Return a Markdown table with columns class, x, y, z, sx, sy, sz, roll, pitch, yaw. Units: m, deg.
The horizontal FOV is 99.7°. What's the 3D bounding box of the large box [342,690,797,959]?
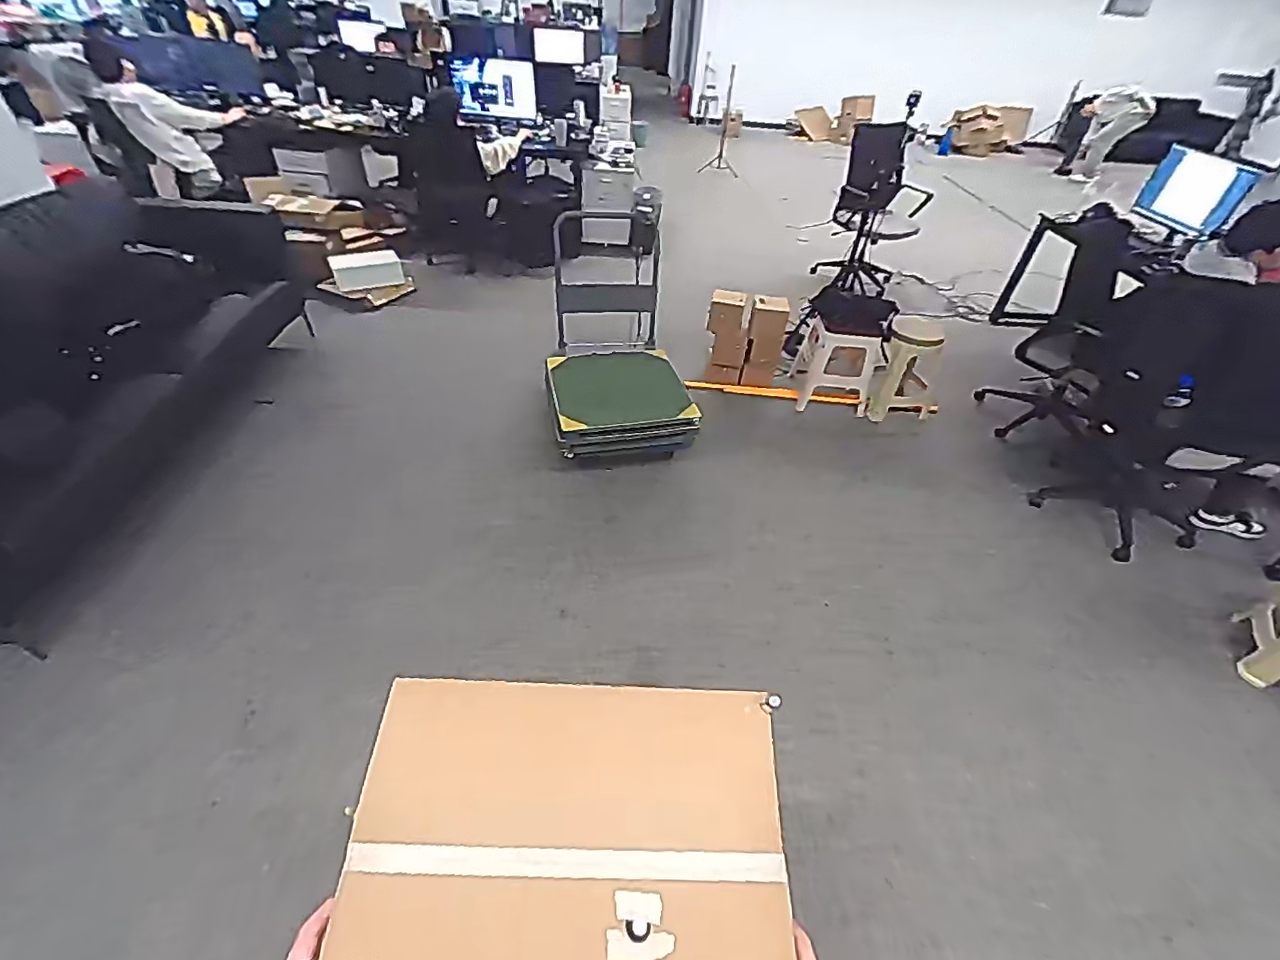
| class | x | y | z | sx | sy | sz | roll | pitch | yaw |
| --- | --- | --- | --- | --- | --- | --- | --- | --- | --- |
| large box | -0.068 | 0.445 | 0.630 | 0.408 | 0.320 | 0.320 | 2 | 57 | -2 |
